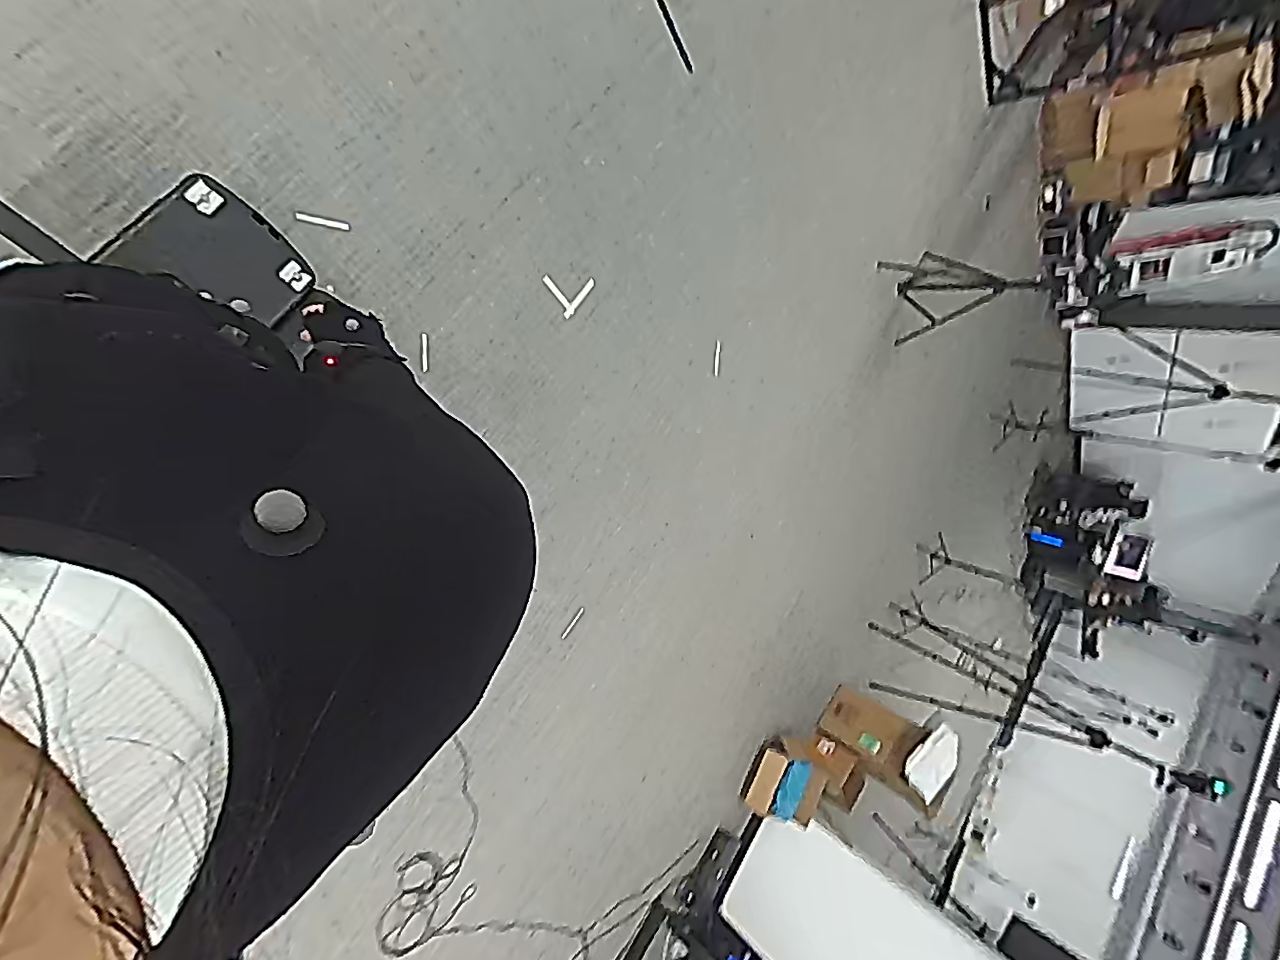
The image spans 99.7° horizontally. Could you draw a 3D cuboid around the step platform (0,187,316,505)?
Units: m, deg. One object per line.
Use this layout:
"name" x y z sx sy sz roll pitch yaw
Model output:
"step platform" -1.031 -0.286 1.141 0.684 0.204 0.286 -57 133 -15
